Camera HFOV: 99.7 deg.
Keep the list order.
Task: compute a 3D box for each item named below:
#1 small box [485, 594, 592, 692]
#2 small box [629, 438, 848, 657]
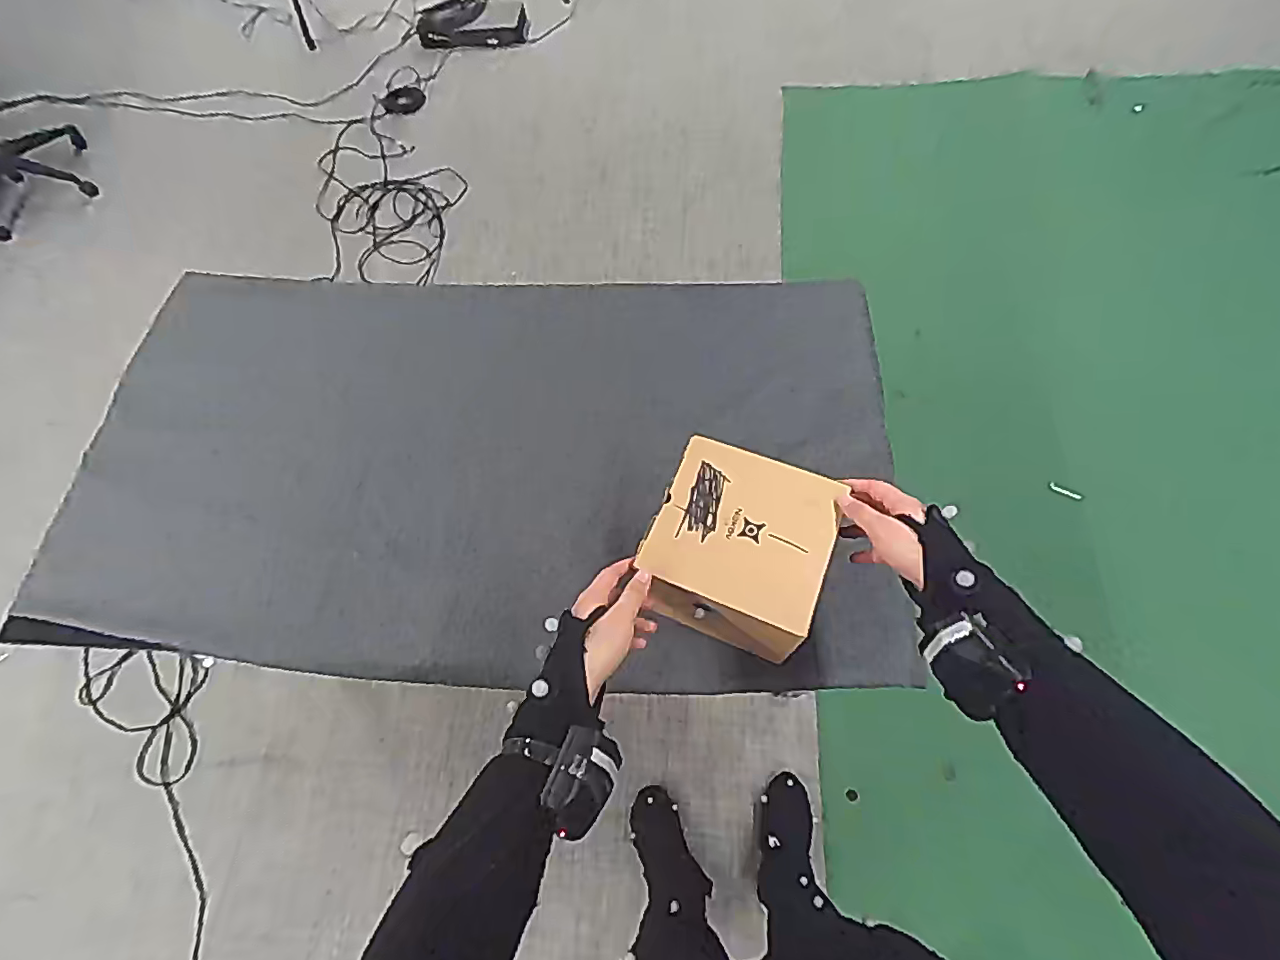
[{"bbox_3d":[-0.234,0.398,1.305,0.179,0.176,0.168,19,69,15],"label":"small box"},{"bbox_3d":[0.107,0.084,0.608,0.179,0.176,0.168,20,68,15],"label":"small box"}]
